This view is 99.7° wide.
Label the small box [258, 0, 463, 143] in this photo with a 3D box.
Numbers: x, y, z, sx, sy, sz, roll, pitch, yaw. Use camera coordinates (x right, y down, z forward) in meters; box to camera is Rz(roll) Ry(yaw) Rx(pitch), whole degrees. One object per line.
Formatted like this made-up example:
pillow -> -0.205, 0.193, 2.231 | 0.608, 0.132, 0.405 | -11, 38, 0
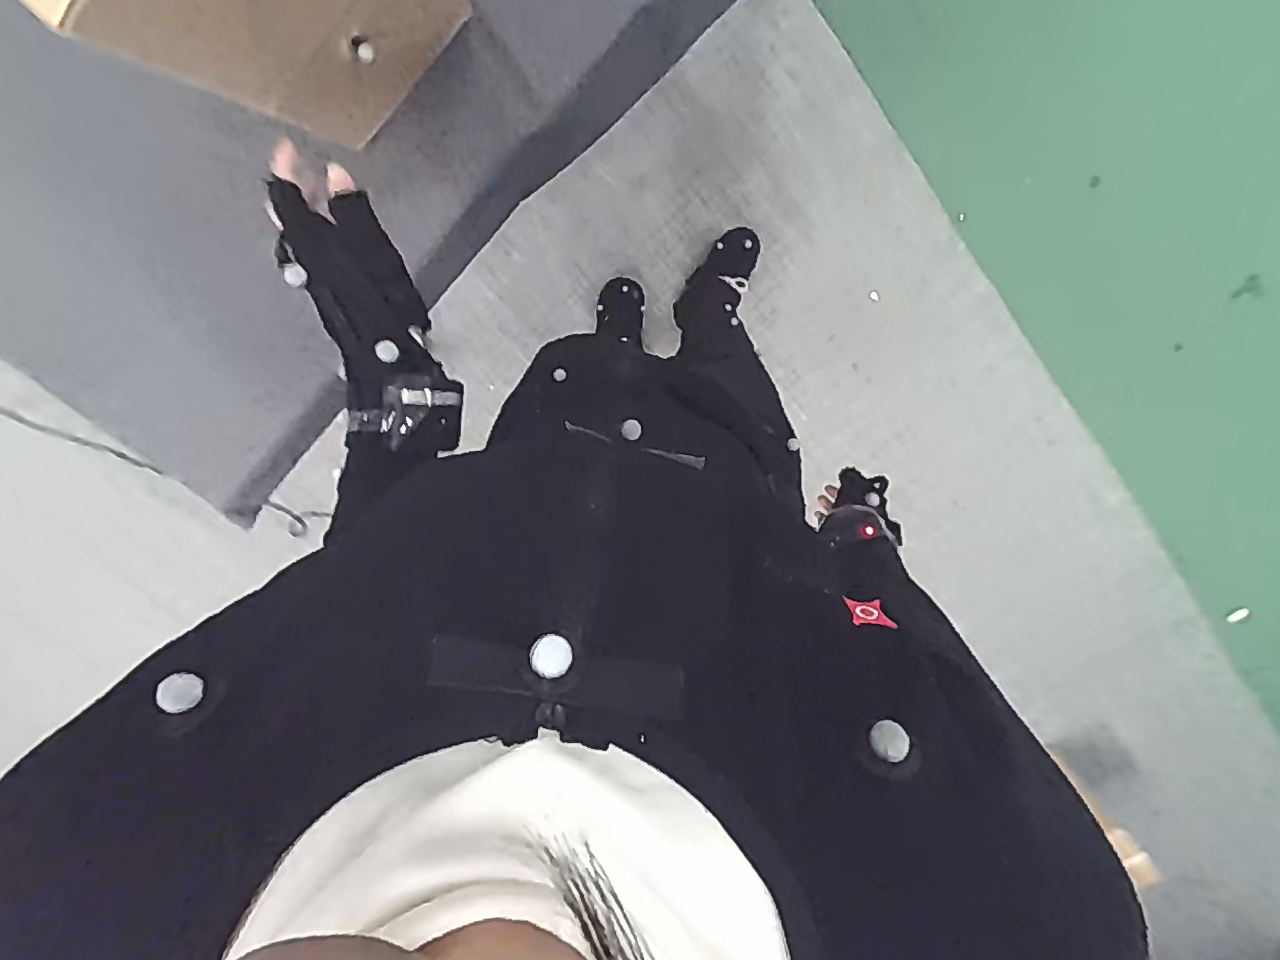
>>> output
small box -> -0.272, -0.414, 0.437 | 0.179, 0.176, 0.168 | -41, 108, 14
